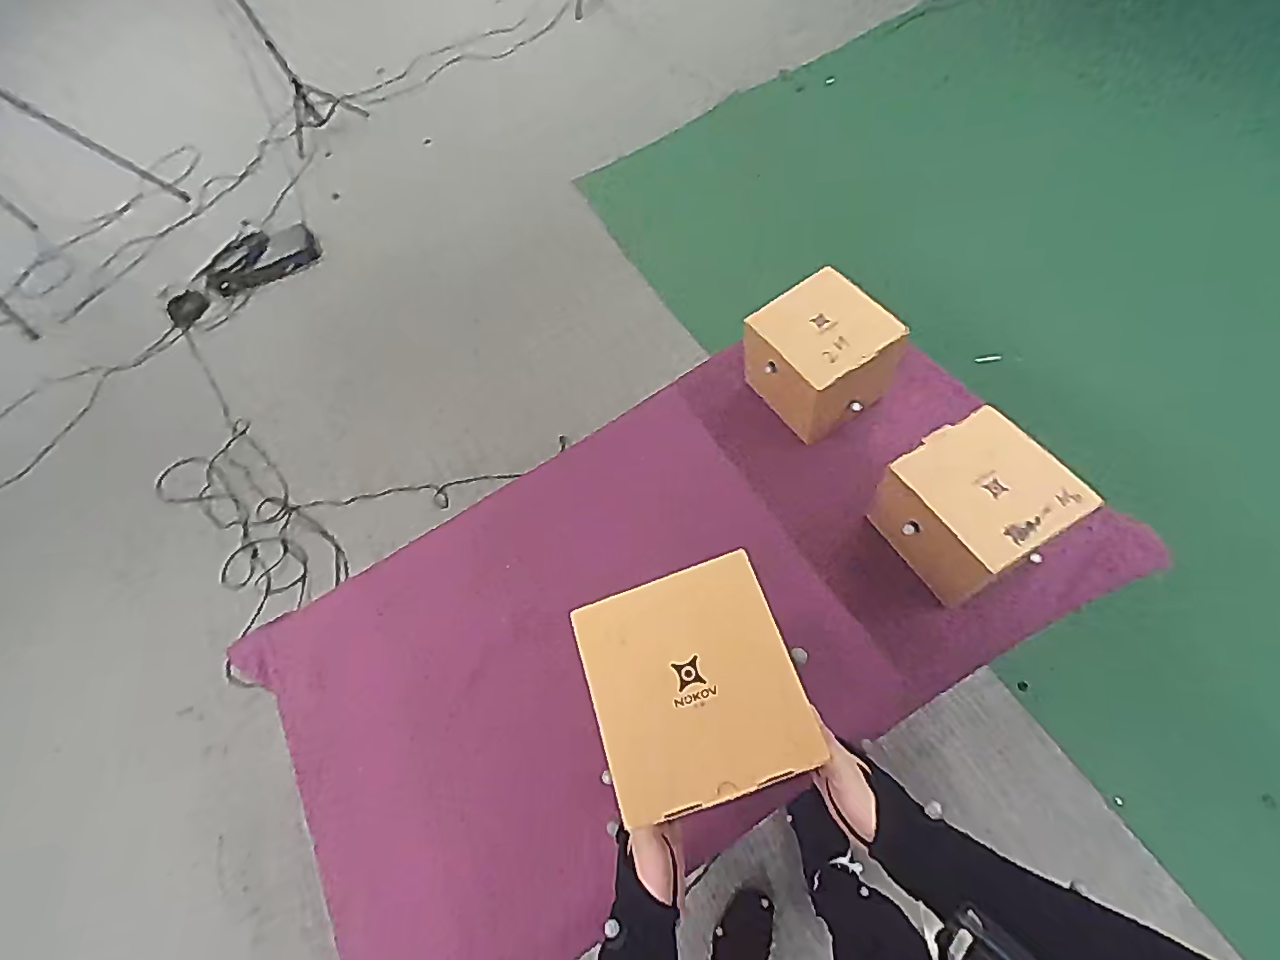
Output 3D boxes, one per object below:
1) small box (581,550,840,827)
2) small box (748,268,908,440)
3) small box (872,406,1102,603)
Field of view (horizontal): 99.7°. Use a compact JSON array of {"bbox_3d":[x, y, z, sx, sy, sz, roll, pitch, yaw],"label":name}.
[{"bbox_3d":[0.059,0.190,0.507,0.168,0.176,0.179,-20,66,1],"label":"small box"},{"bbox_3d":[0.291,-0.199,0.882,0.168,0.176,0.179,-34,63,-4],"label":"small box"},{"bbox_3d":[0.448,0.040,0.737,0.168,0.176,0.179,-31,60,-5],"label":"small box"}]
